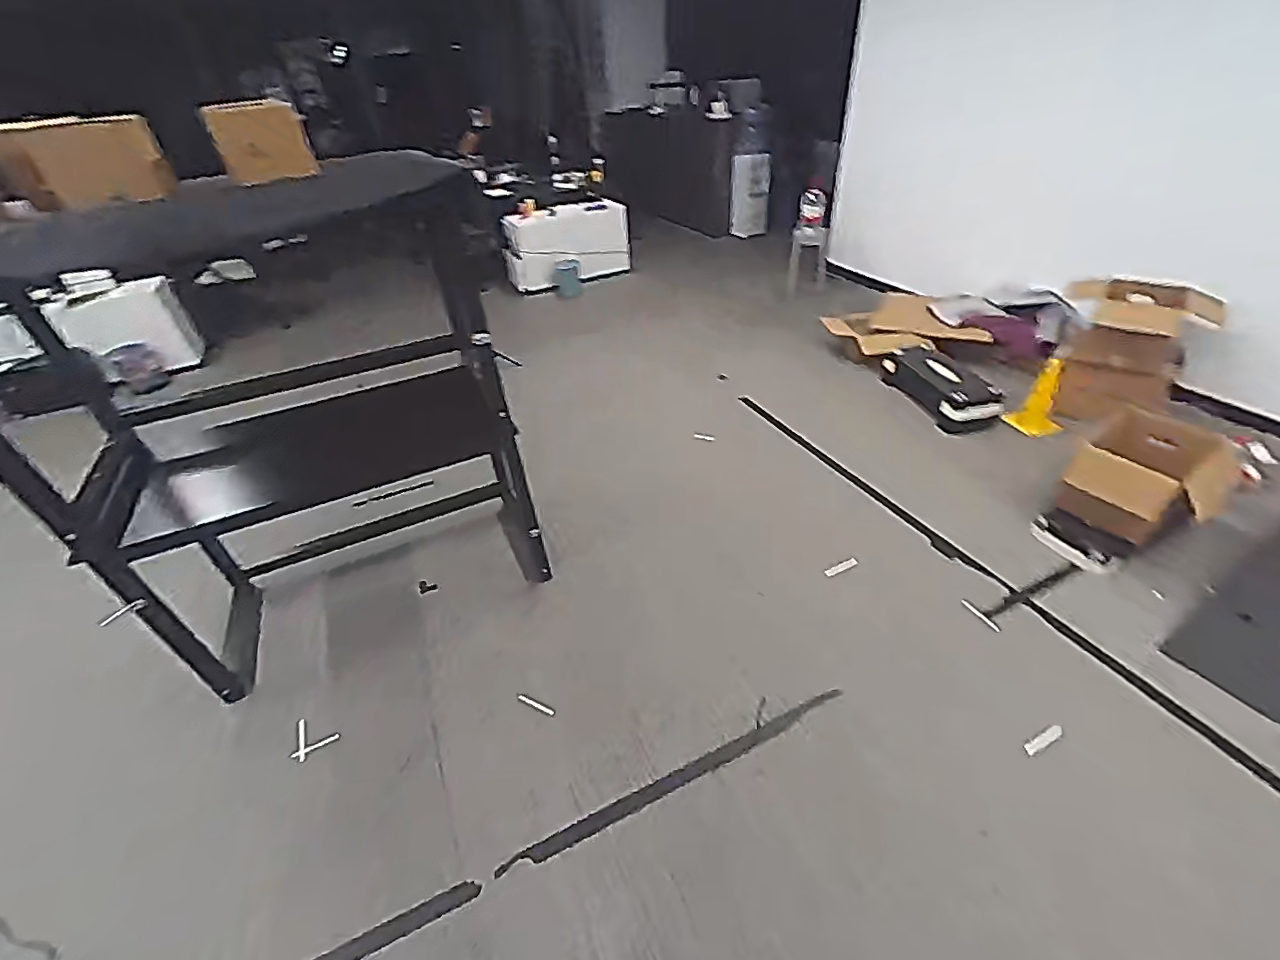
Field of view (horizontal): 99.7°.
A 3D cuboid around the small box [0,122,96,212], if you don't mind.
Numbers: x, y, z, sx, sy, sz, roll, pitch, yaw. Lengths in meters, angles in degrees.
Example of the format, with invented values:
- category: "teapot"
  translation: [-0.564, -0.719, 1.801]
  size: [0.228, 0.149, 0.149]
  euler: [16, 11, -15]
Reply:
- category: "small box"
  translation: [-1.396, -0.773, 1.334]
  size: [0.168, 0.176, 0.179]
  euler: [-25, 42, -22]

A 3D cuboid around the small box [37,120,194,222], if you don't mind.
- category: "small box"
  translation: [-1.130, -0.681, 1.188]
  size: [0.179, 0.176, 0.168]
  euler: [-19, 40, -19]

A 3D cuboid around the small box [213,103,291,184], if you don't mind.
- category: "small box"
  translation: [-1.016, -0.921, 1.480]
  size: [0.179, 0.176, 0.168]
  euler: [-19, 41, -17]

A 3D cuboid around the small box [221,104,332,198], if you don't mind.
- category: "small box"
  translation: [-0.854, -0.781, 1.285]
  size: [0.168, 0.176, 0.179]
  euler: [-21, 40, -19]
